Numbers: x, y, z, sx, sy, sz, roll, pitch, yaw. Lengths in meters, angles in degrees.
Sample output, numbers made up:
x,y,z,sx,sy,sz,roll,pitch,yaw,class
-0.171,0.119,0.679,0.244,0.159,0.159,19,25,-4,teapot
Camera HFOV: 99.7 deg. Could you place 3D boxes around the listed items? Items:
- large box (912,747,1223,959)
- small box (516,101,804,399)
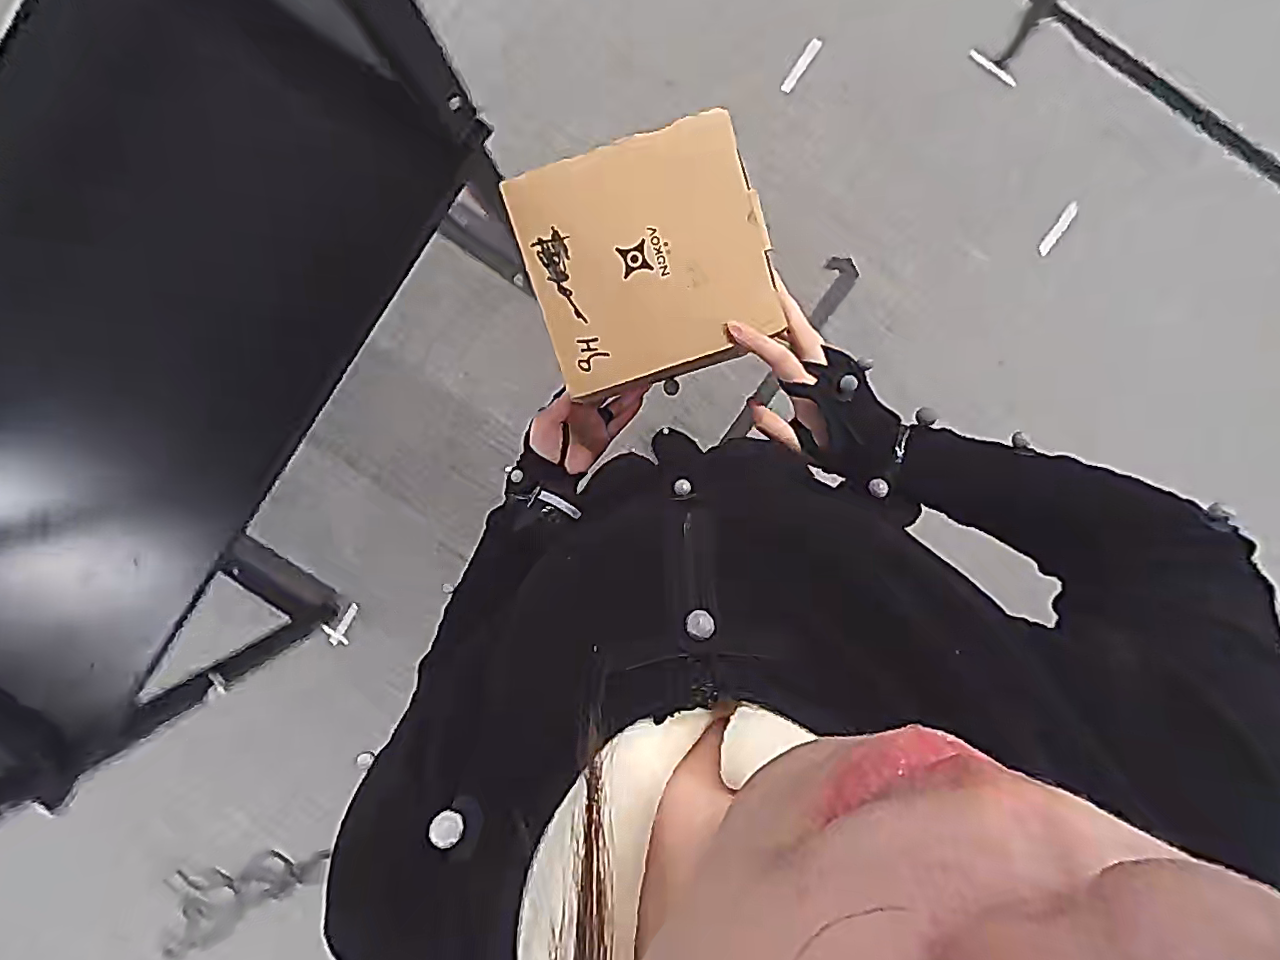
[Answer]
x,y,z,sx,sy,sz,roll,pitch,yaw,class
0.915,0.919,1.218,0.320,0.320,0.408,35,93,-3,large box
0.014,-0.173,0.465,0.179,0.176,0.168,-17,96,1,small box
